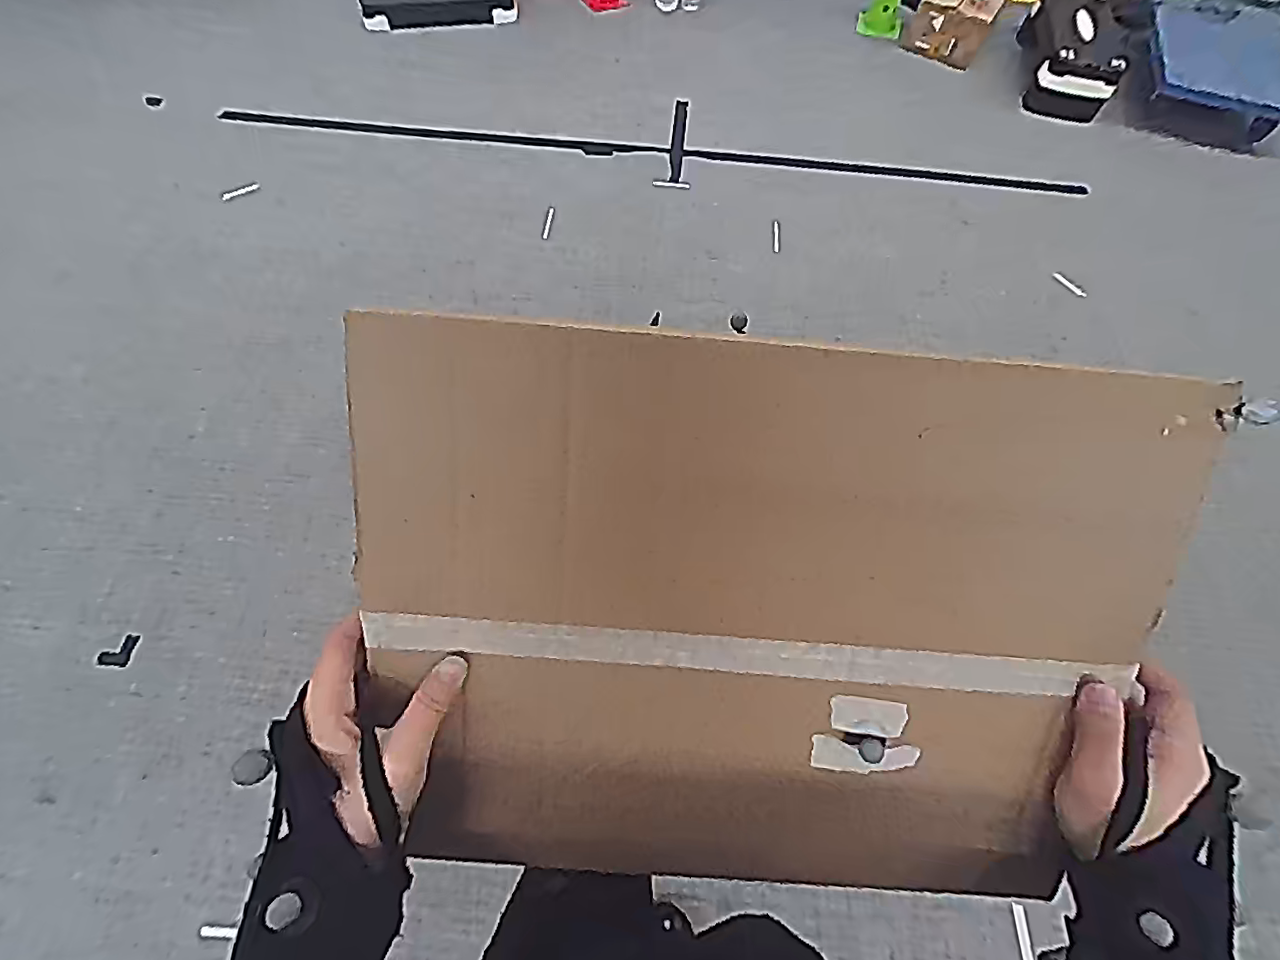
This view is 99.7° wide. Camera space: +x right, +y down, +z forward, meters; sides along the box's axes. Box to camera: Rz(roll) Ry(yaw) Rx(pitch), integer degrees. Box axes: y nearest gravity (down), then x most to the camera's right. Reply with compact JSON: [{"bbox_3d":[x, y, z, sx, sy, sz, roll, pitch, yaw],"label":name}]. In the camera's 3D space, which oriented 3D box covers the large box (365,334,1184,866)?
[{"bbox_3d":[0.056,0.050,0.440,0.408,0.320,0.320,4,107,-2],"label":"large box"}]
